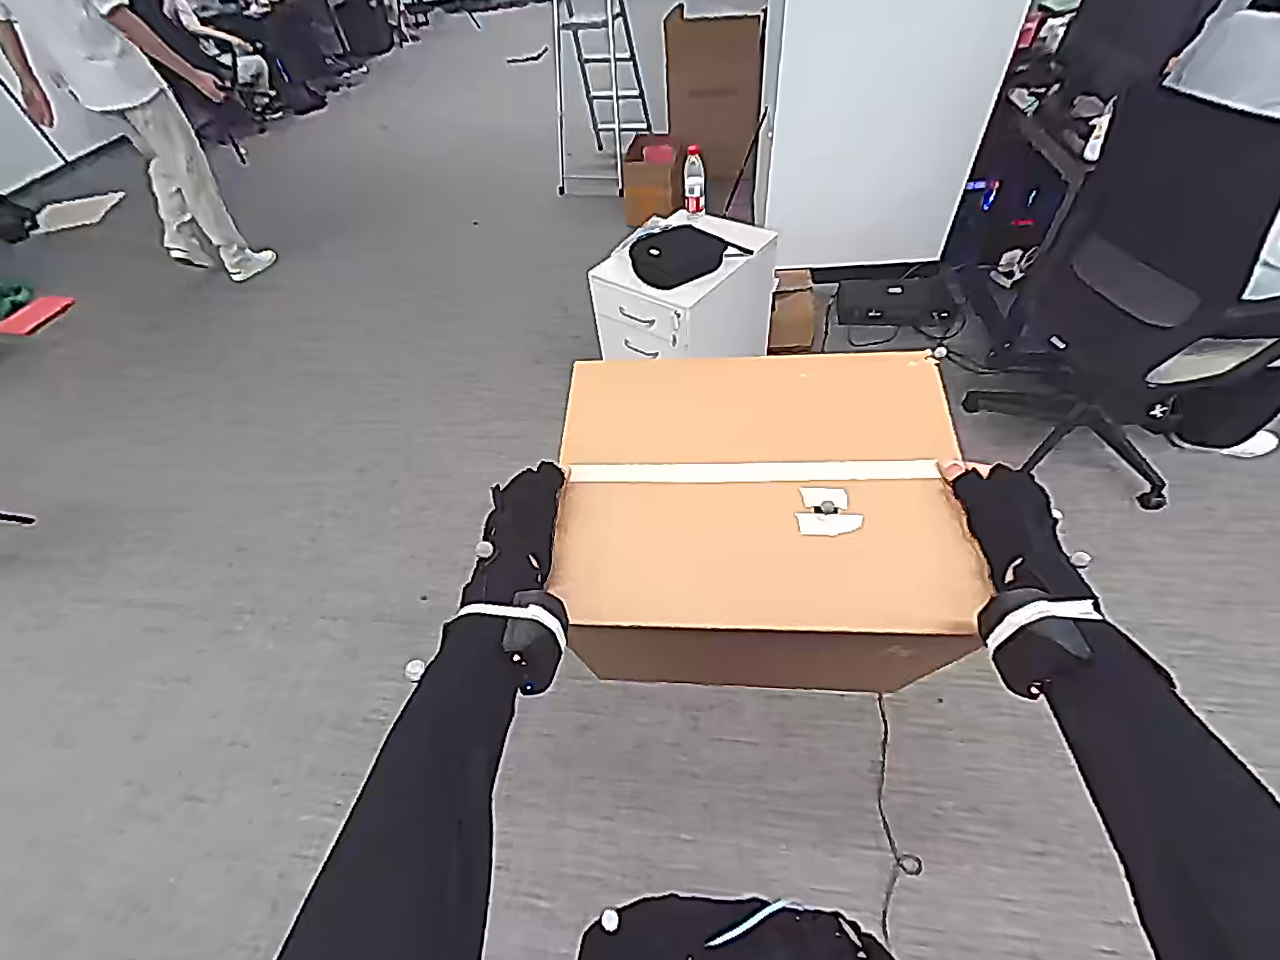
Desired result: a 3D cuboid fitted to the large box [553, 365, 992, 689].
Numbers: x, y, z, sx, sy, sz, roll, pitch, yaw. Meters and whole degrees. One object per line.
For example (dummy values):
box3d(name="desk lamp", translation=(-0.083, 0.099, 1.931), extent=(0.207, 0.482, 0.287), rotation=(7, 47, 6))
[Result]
box3d(name="large box", translation=(0.131, 0.078, 0.692), extent=(0.408, 0.320, 0.320), rotation=(0, 61, 6))
